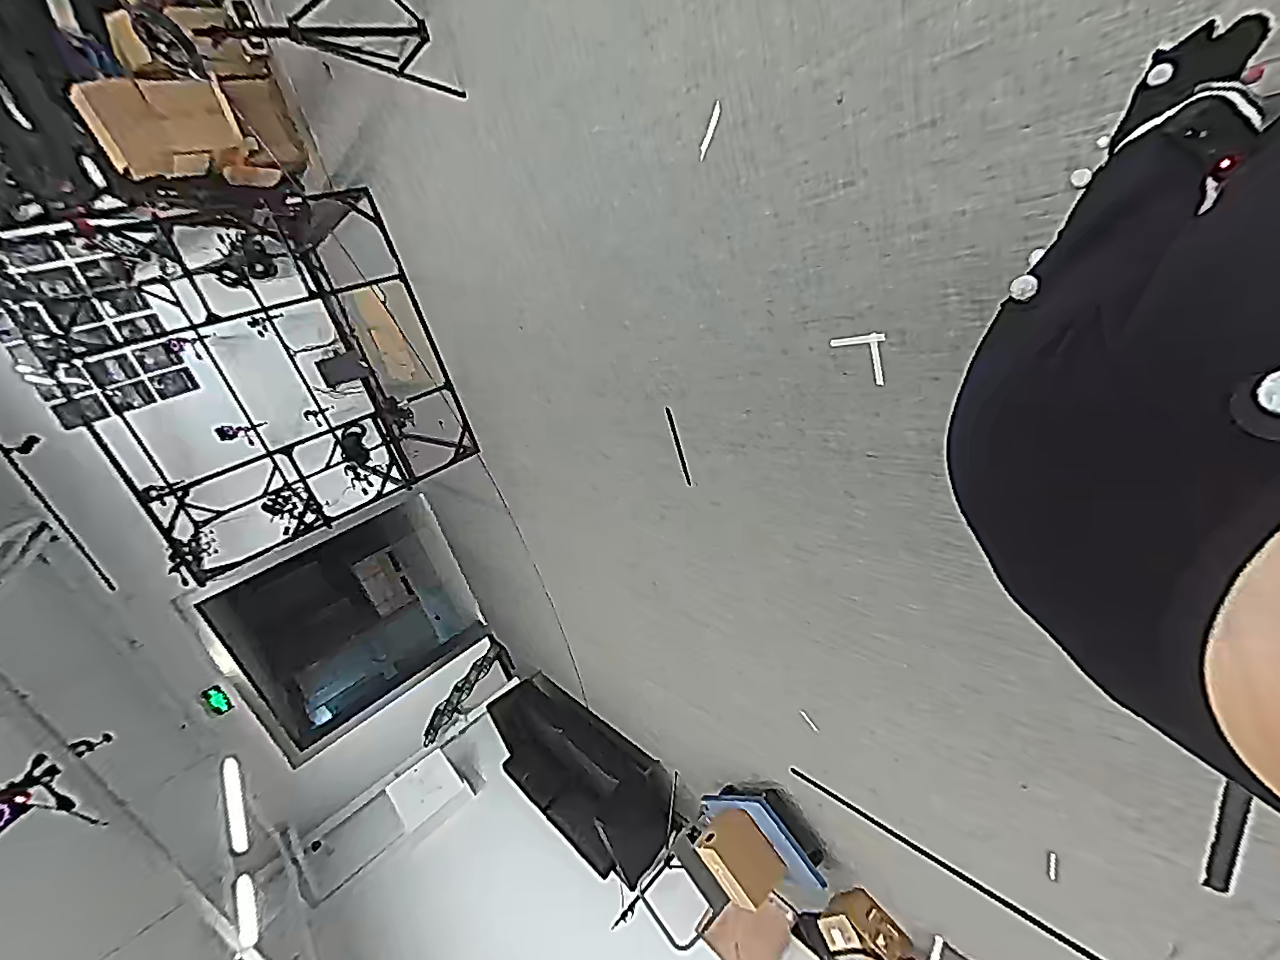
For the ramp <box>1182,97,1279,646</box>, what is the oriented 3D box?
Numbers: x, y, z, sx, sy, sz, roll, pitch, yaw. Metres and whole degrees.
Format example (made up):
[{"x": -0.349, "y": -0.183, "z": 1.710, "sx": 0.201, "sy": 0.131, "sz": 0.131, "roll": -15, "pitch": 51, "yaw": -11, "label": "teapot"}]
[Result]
[{"x": 1.258, "y": -0.135, "z": 0.863, "sx": 0.509, "sy": 0.206, "sz": 0.991, "roll": 9, "pitch": 123, "yaw": 52, "label": "ramp"}]
